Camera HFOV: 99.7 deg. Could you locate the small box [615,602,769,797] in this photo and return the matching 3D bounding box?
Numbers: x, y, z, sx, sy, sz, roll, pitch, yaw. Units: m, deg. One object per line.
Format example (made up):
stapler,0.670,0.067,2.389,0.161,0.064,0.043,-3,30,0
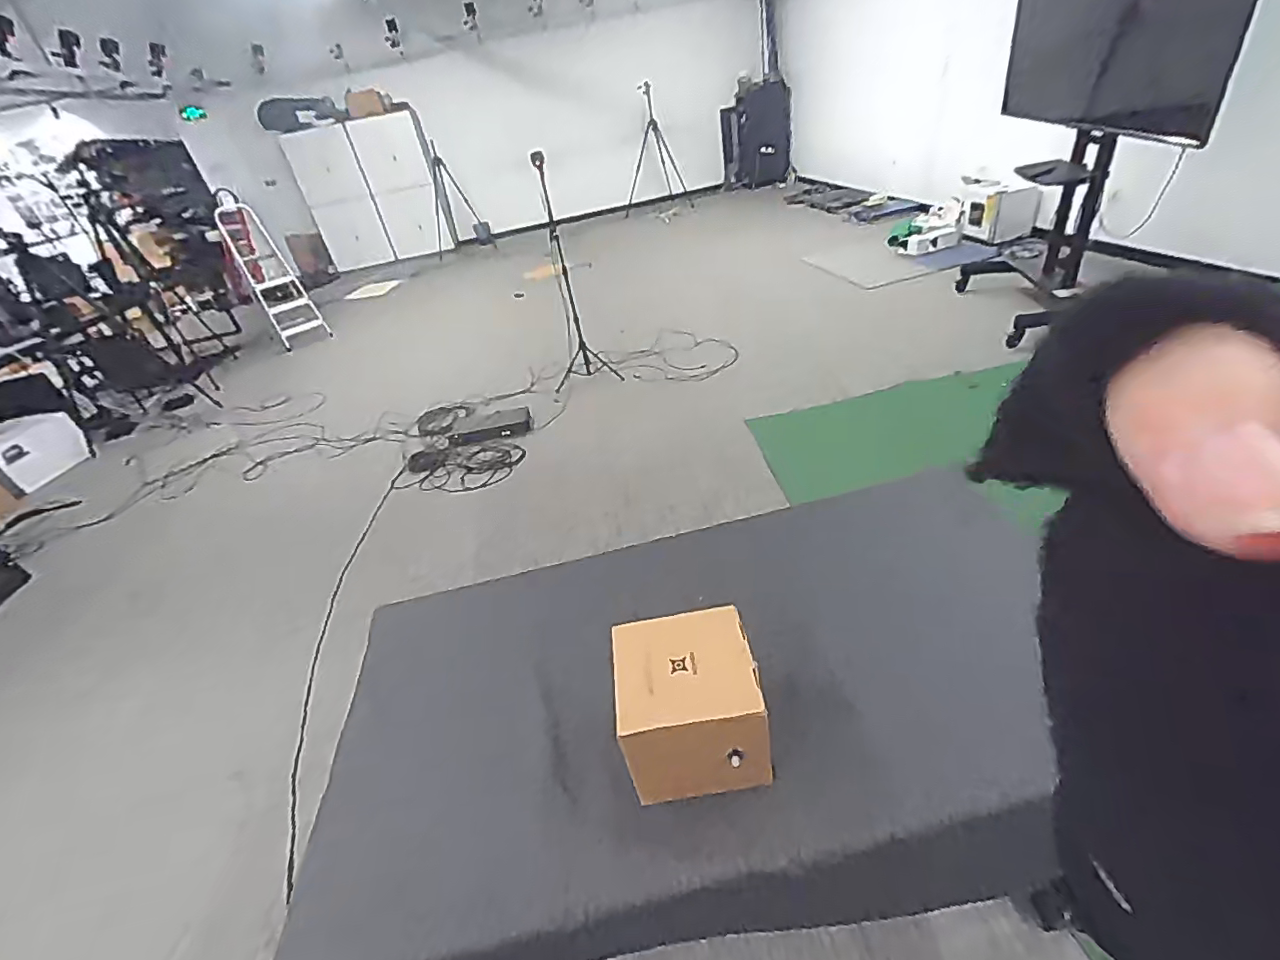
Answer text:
small box,0.069,0.295,0.730,0.179,0.176,0.168,-12,33,2
